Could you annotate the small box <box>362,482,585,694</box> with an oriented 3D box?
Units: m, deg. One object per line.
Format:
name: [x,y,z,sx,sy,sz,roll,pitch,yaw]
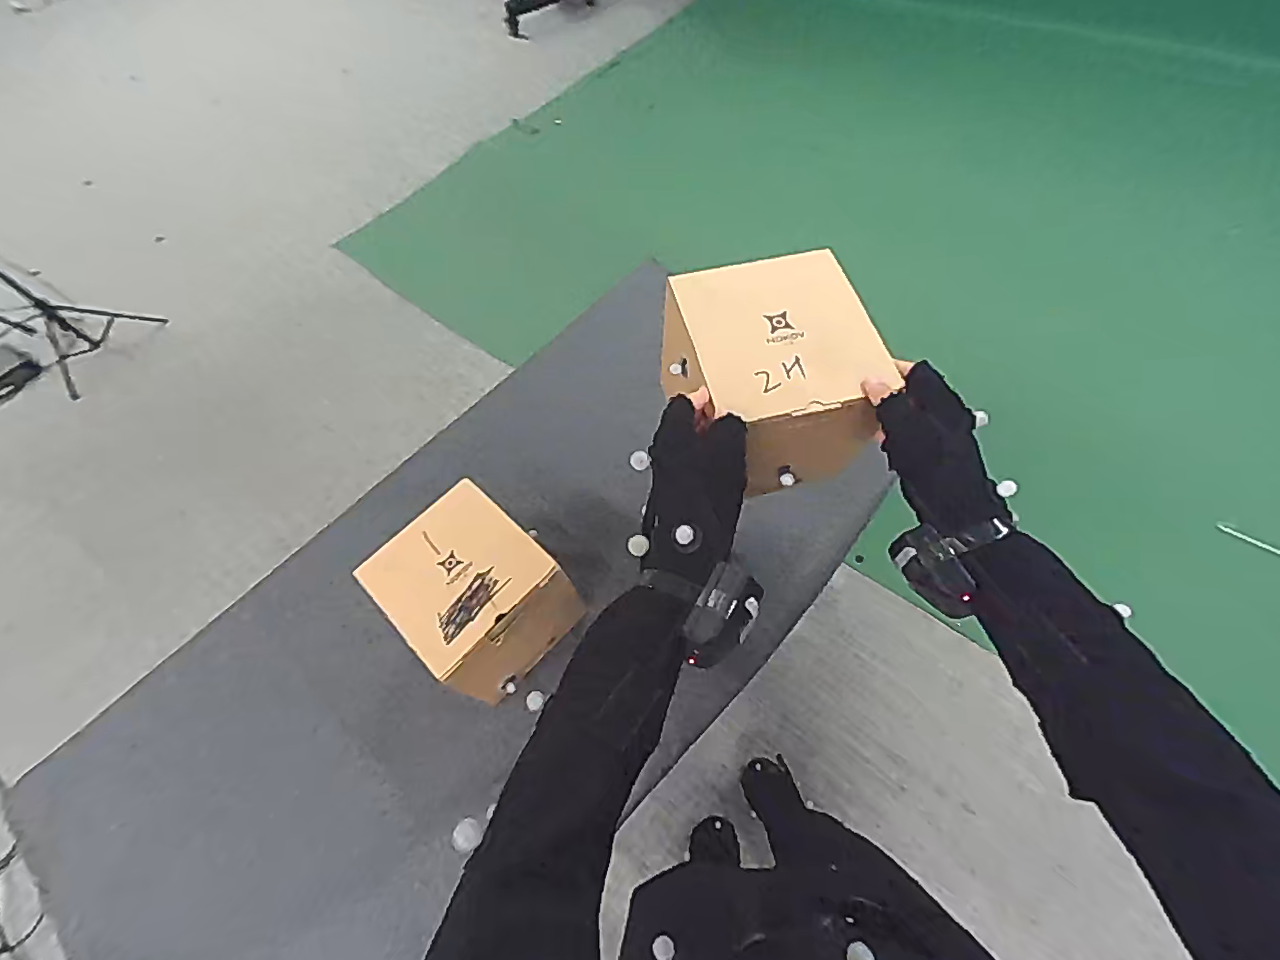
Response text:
small box: [-0.191,0.142,0.670,0.179,0.176,0.168,38,71,26]

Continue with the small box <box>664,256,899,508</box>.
small box: [0.123,-0.094,0.559,0.168,0.176,0.179,-13,65,-5]
